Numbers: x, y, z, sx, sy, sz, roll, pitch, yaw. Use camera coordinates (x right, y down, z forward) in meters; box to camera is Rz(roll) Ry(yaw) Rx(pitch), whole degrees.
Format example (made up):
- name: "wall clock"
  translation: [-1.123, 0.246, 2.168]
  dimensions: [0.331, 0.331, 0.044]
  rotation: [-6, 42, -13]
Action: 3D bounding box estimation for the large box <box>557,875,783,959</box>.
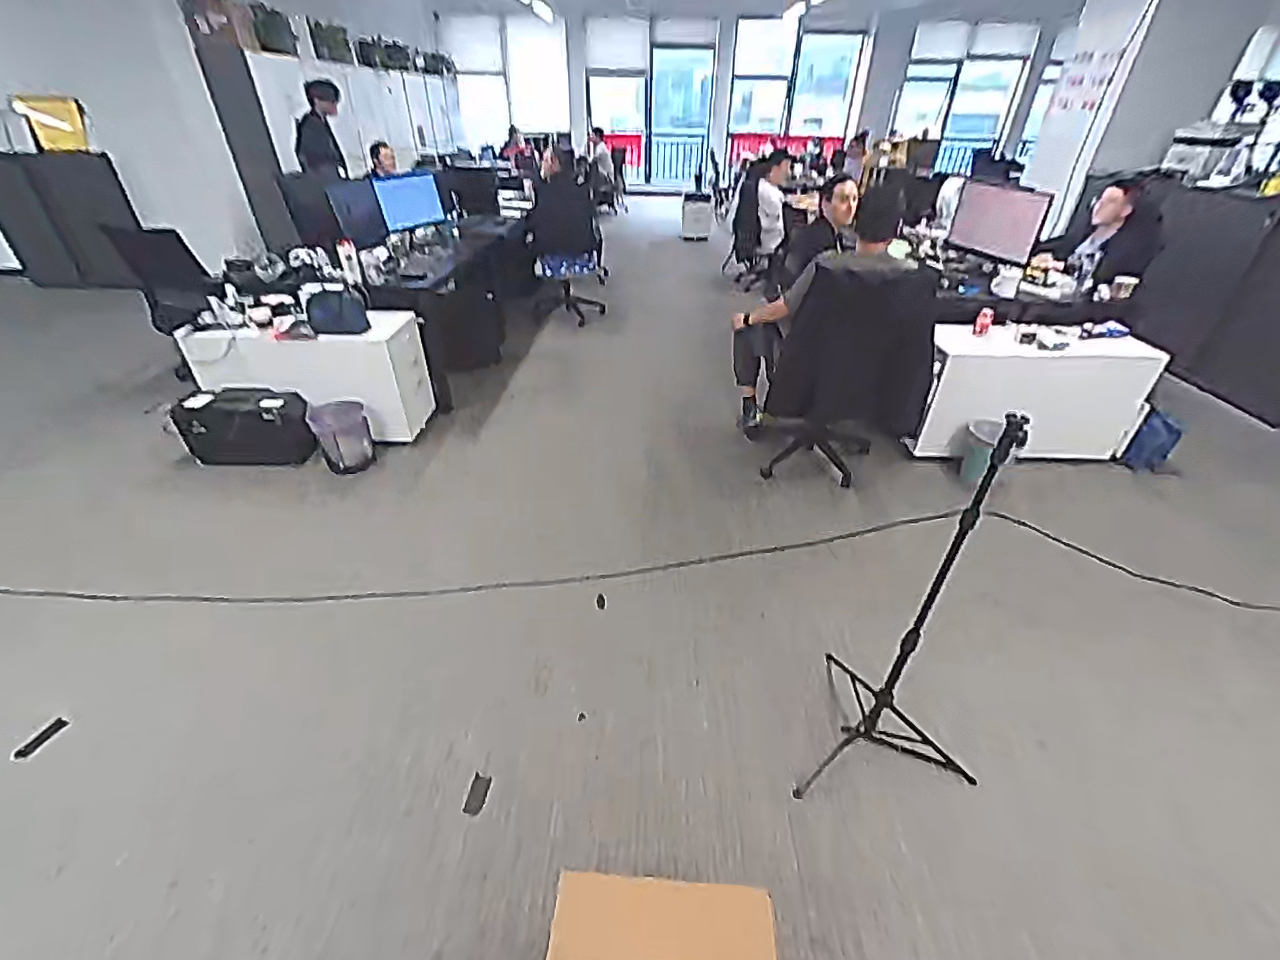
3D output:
- name: "large box"
  translation: [0.046, 0.984, 0.996]
  dimensions: [0.408, 0.320, 0.320]
  rotation: [4, 35, 3]
